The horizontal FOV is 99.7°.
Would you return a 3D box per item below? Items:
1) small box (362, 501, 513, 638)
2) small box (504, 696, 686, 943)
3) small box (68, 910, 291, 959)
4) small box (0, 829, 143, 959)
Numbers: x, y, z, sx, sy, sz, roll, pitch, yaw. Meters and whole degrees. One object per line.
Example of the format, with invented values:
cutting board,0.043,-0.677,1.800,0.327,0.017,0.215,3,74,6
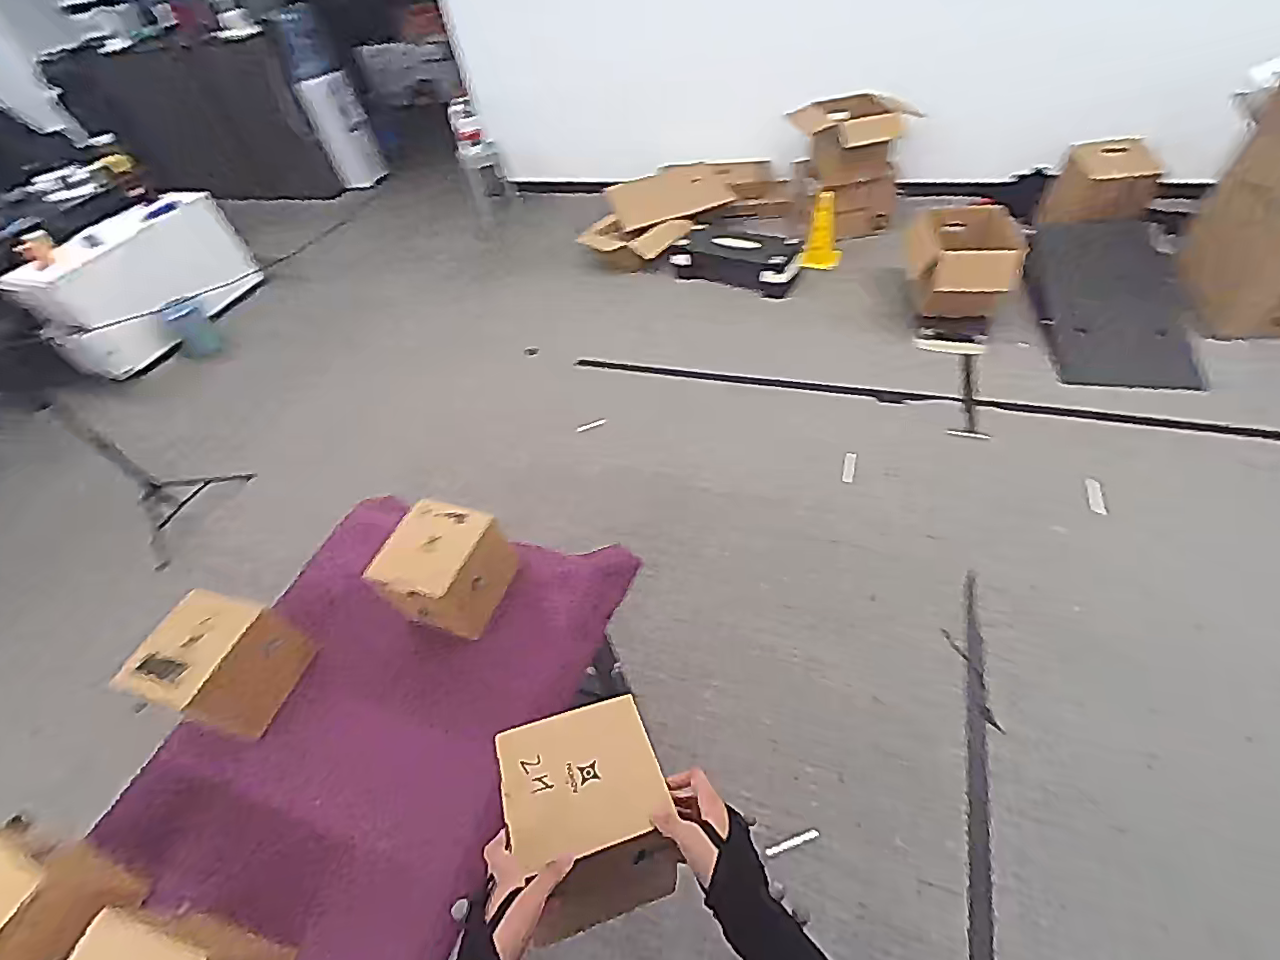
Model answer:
small box,-0.361,0.169,1.004,0.168,0.176,0.179,11,54,18
small box,-0.057,0.398,0.646,0.179,0.176,0.168,-11,33,-15
small box,-0.575,0.640,0.640,0.179,0.176,0.168,6,52,15
small box,-0.844,0.598,0.719,0.179,0.176,0.168,12,52,19
